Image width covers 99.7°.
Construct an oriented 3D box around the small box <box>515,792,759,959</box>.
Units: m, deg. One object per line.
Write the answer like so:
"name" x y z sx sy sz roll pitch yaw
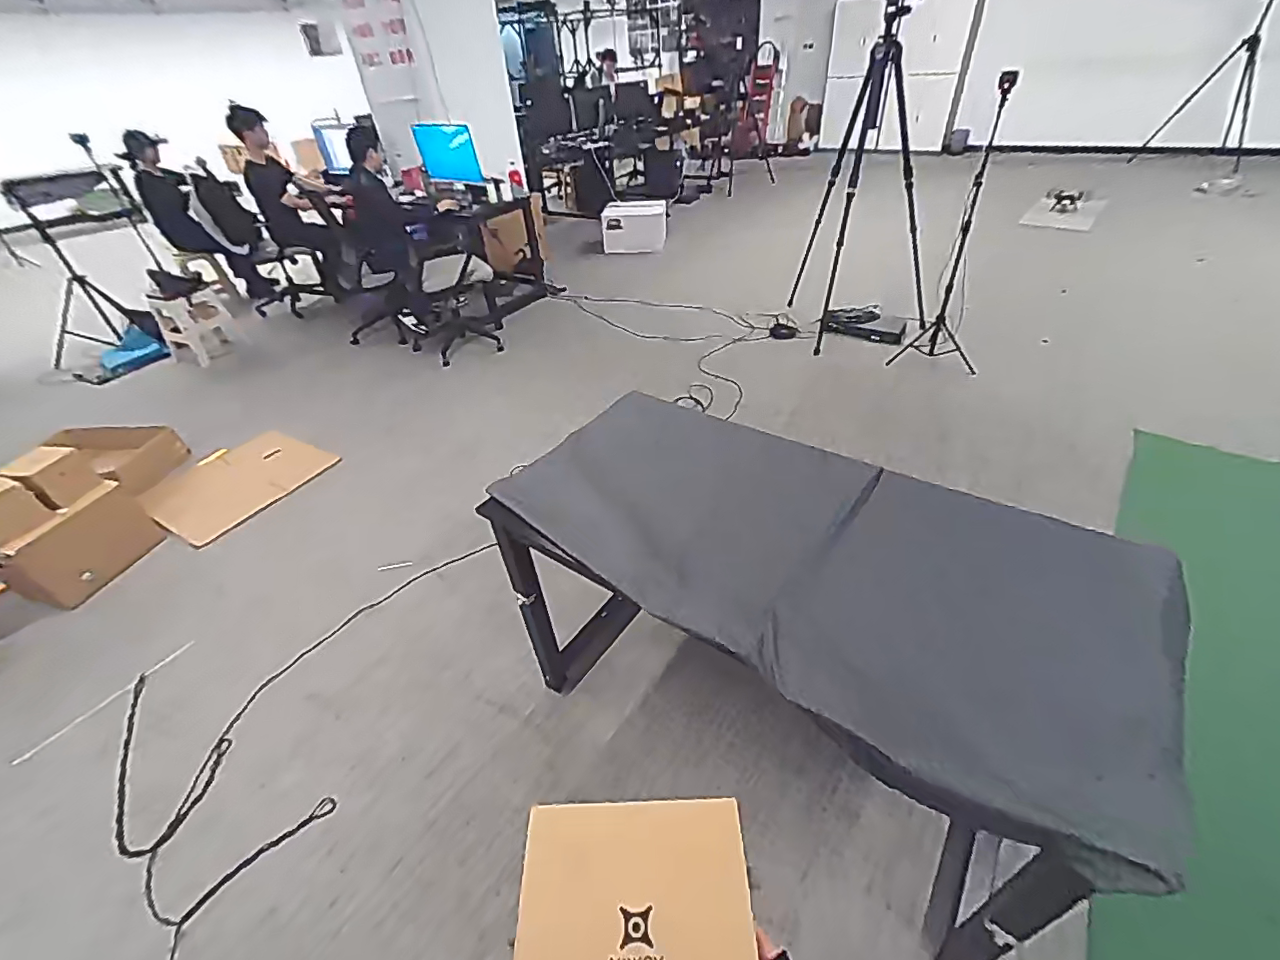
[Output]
"small box" -0.001 0.369 0.422 0.168 0.176 0.179 -2 42 1
